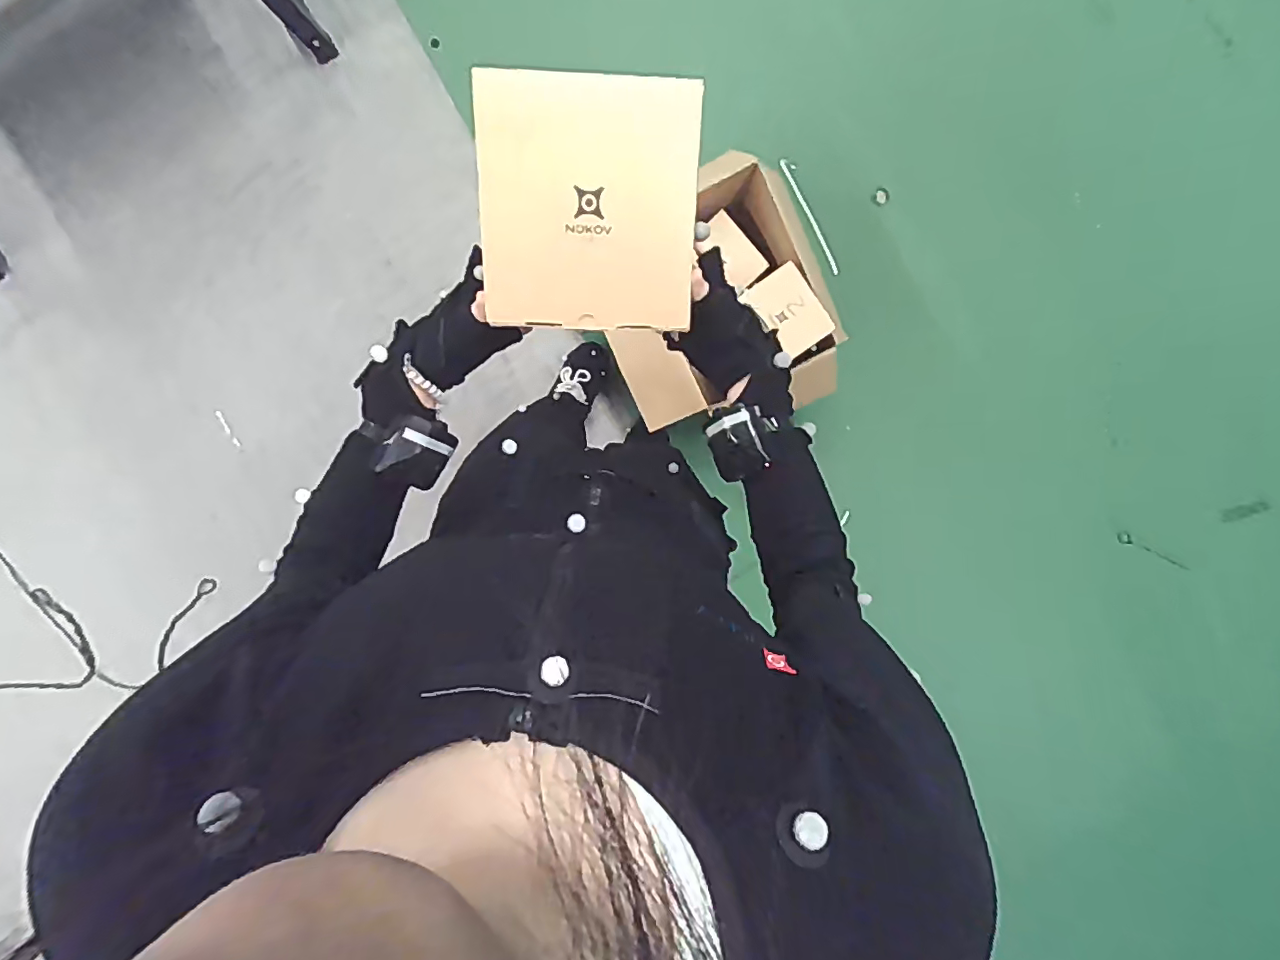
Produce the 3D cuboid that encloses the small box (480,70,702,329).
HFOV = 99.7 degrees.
[{"bbox_3d":[-0.044,-0.238,0.495,0.168,0.176,0.179,1,111,-4],"label":"small box"}]
